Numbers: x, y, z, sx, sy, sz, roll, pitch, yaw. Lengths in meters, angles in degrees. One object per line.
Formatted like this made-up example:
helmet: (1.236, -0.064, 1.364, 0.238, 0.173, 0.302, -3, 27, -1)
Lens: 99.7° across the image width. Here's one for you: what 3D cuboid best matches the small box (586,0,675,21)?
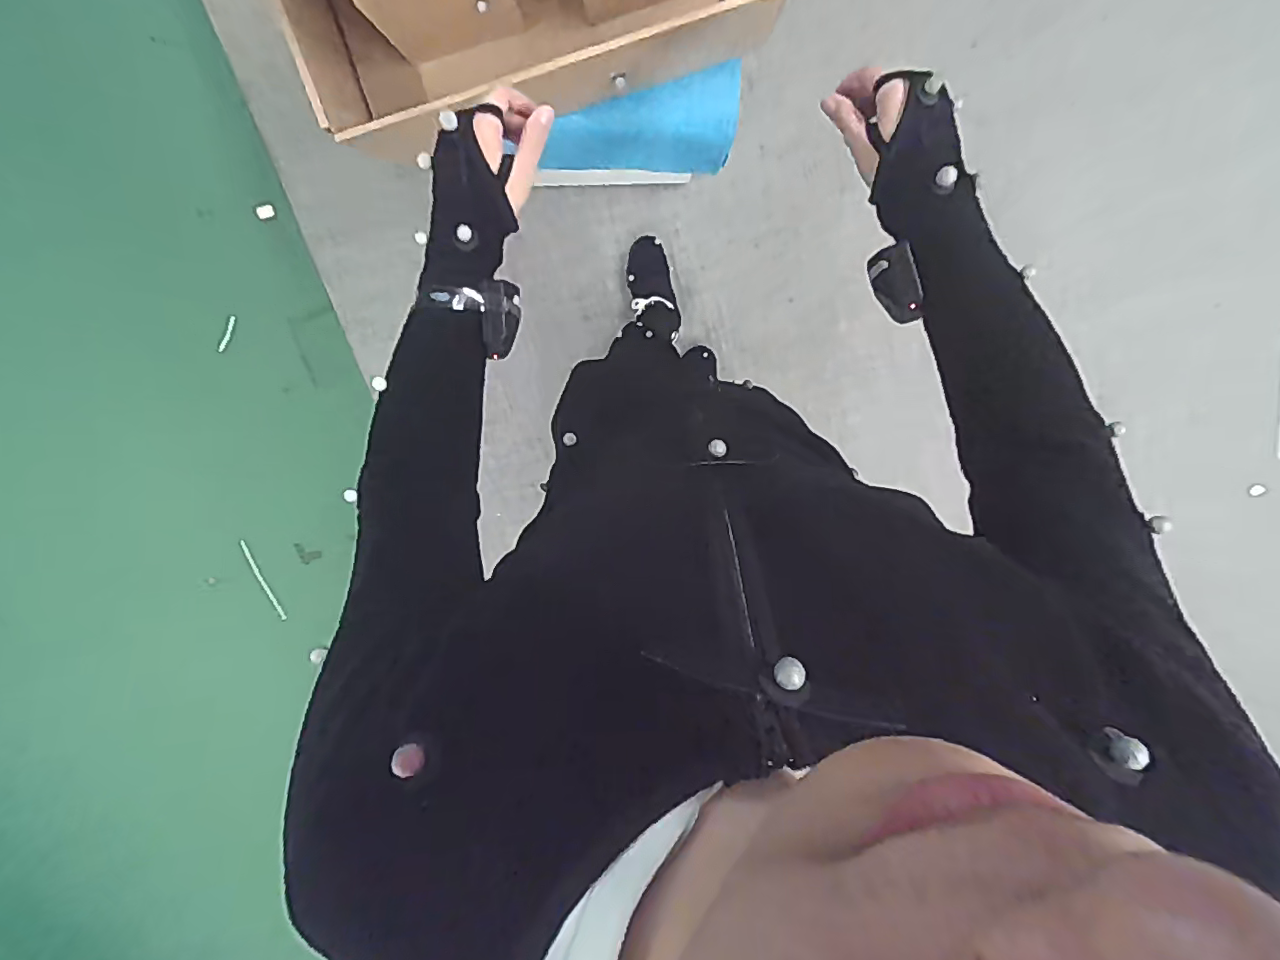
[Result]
small box: (-0.006, -0.696, 0.640, 0.179, 0.176, 0.168, -12, 107, 8)
